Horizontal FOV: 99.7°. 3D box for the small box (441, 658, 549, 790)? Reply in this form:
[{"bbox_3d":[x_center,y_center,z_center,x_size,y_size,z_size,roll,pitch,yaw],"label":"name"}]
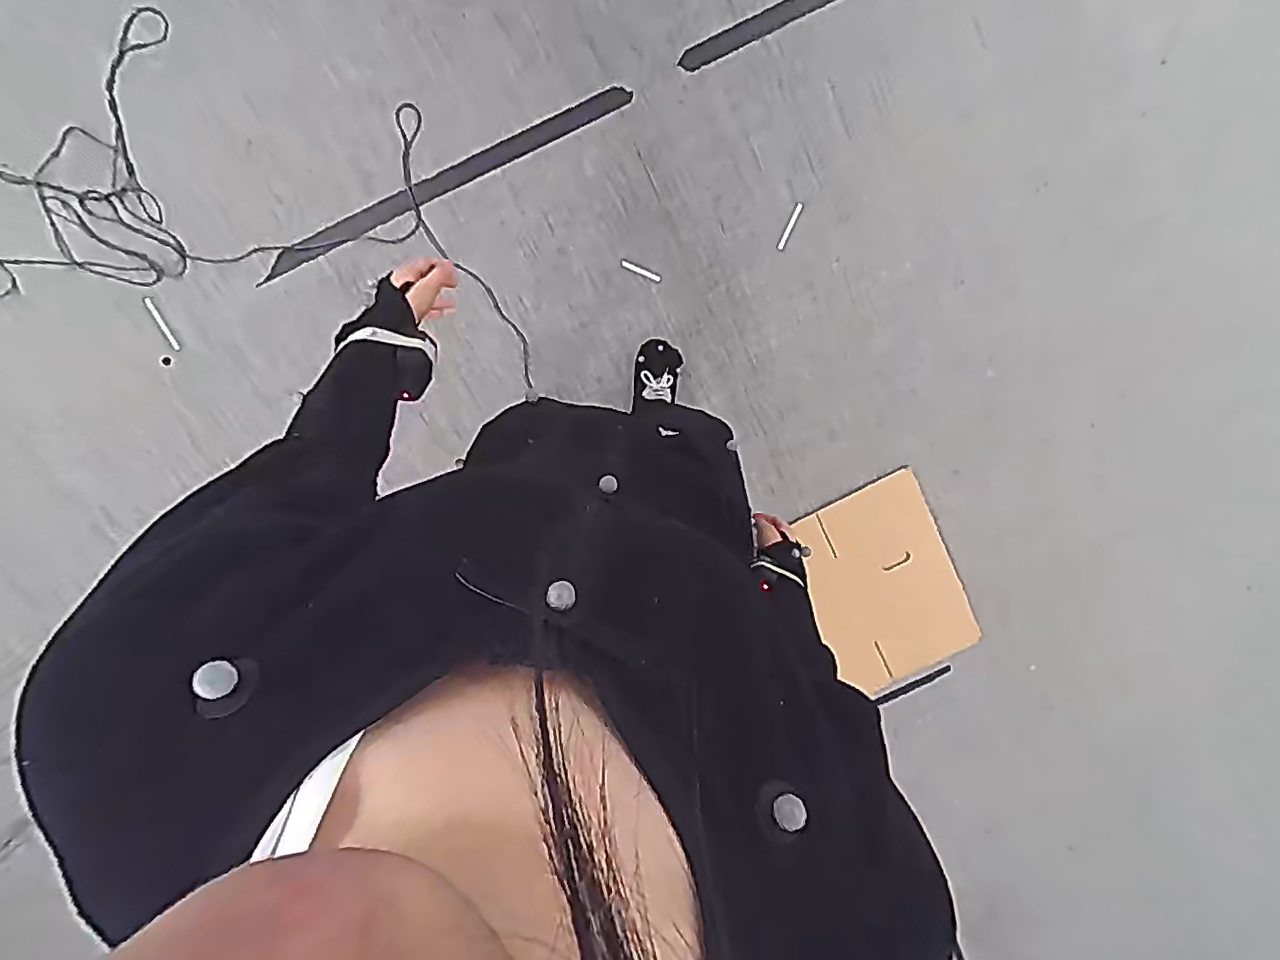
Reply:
[{"bbox_3d":[-0.310,0.531,1.193,0.168,0.176,0.179,22,99,-6],"label":"small box"}]
